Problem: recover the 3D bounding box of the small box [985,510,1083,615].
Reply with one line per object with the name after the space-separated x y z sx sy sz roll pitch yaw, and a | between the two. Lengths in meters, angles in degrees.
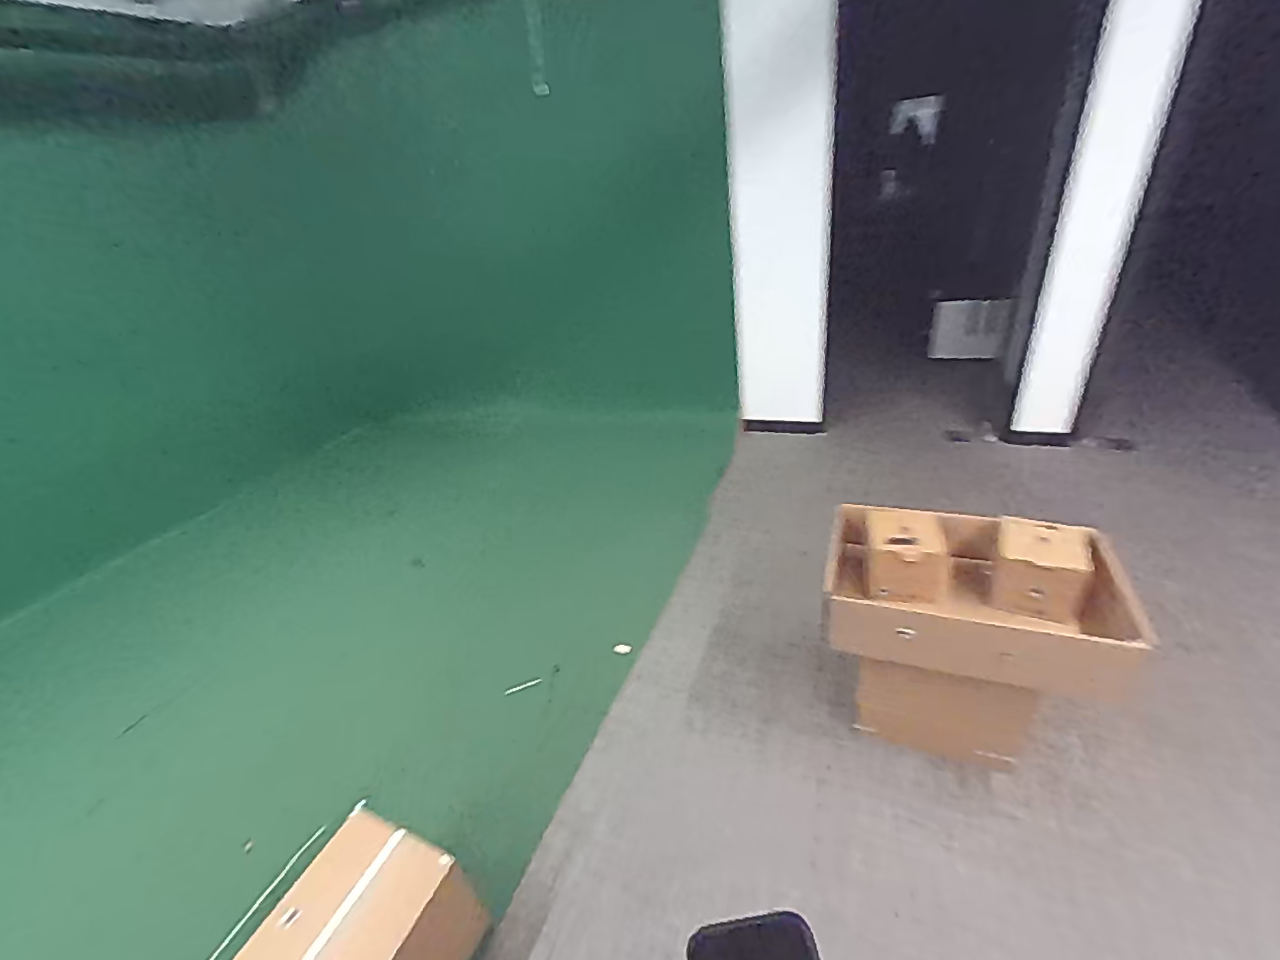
0.963 0.202 1.331 0.168 0.176 0.179 10 37 28 | small box
